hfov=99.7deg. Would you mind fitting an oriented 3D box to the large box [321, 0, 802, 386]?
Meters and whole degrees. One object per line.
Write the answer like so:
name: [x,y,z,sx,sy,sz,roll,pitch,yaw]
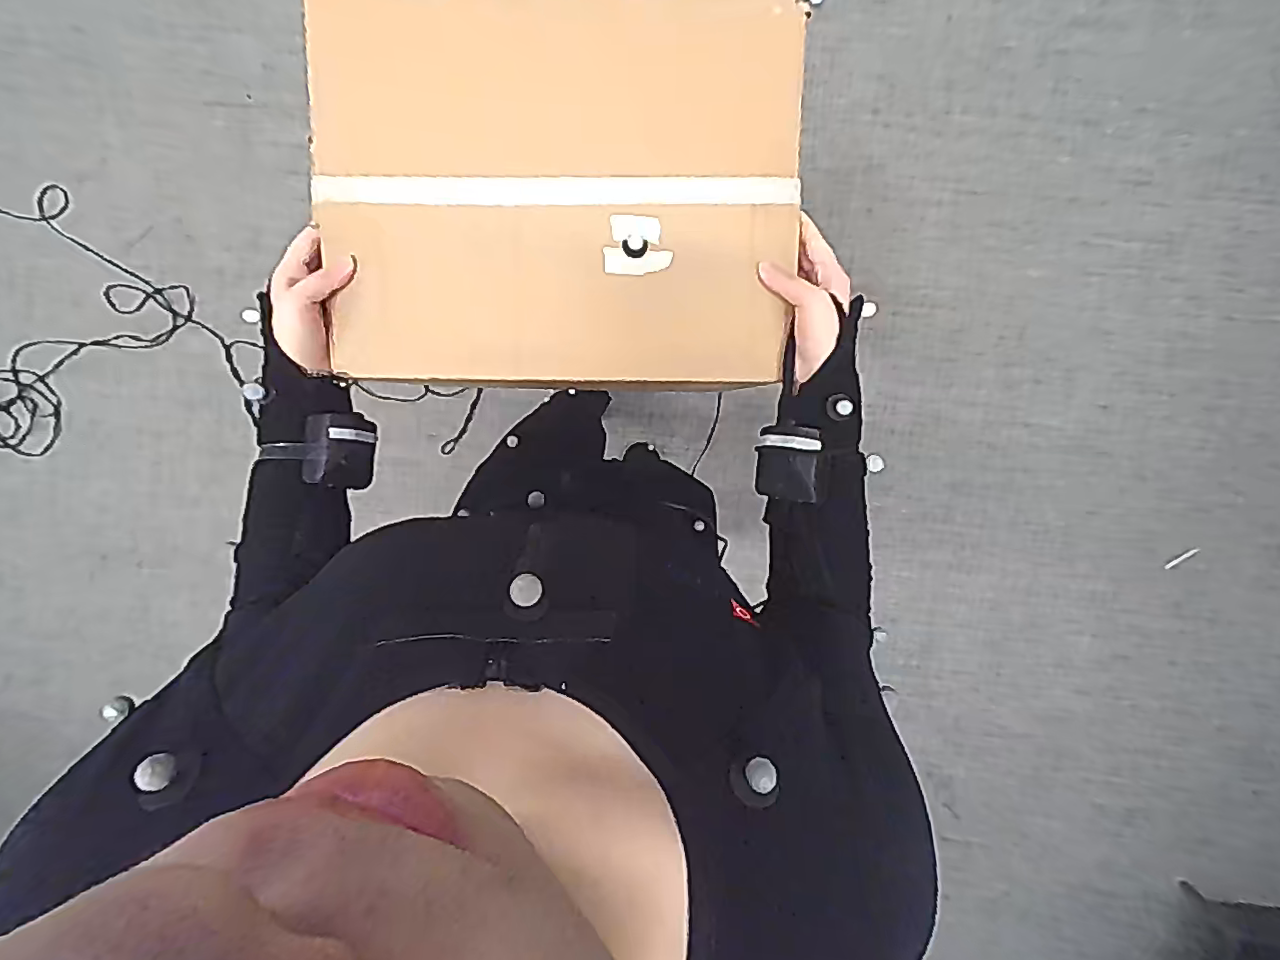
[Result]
large box: [-0.067,-0.270,0.611,0.408,0.320,0.320,0,99,-1]
